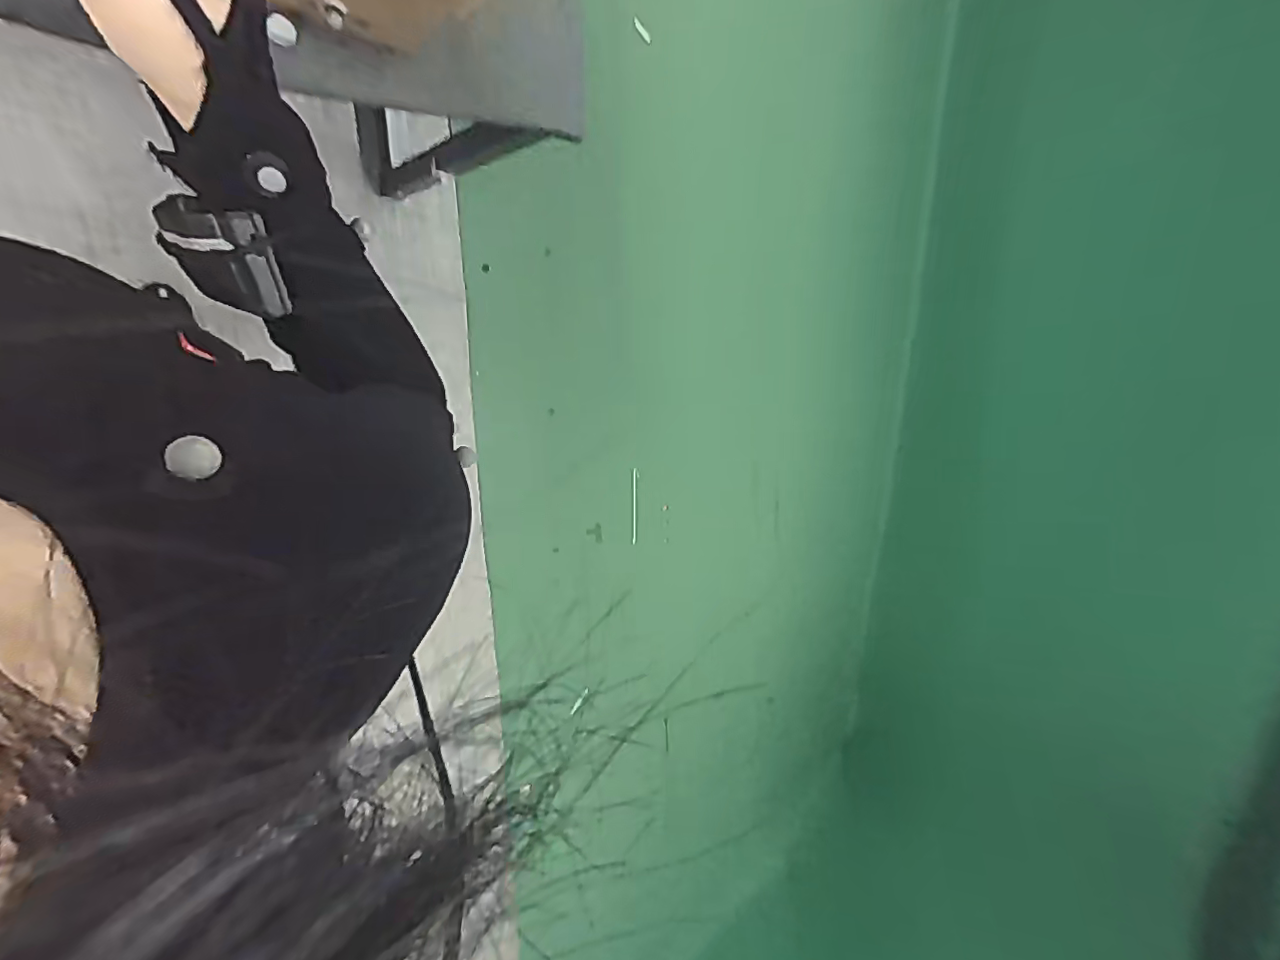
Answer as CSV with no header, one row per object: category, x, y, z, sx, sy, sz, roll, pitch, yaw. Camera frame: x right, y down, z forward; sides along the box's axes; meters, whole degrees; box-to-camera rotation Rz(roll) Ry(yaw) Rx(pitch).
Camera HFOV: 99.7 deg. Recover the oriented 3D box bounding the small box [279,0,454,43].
small box,-0.292,-0.588,0.535,0.168,0.176,0.179,-12,110,-41
